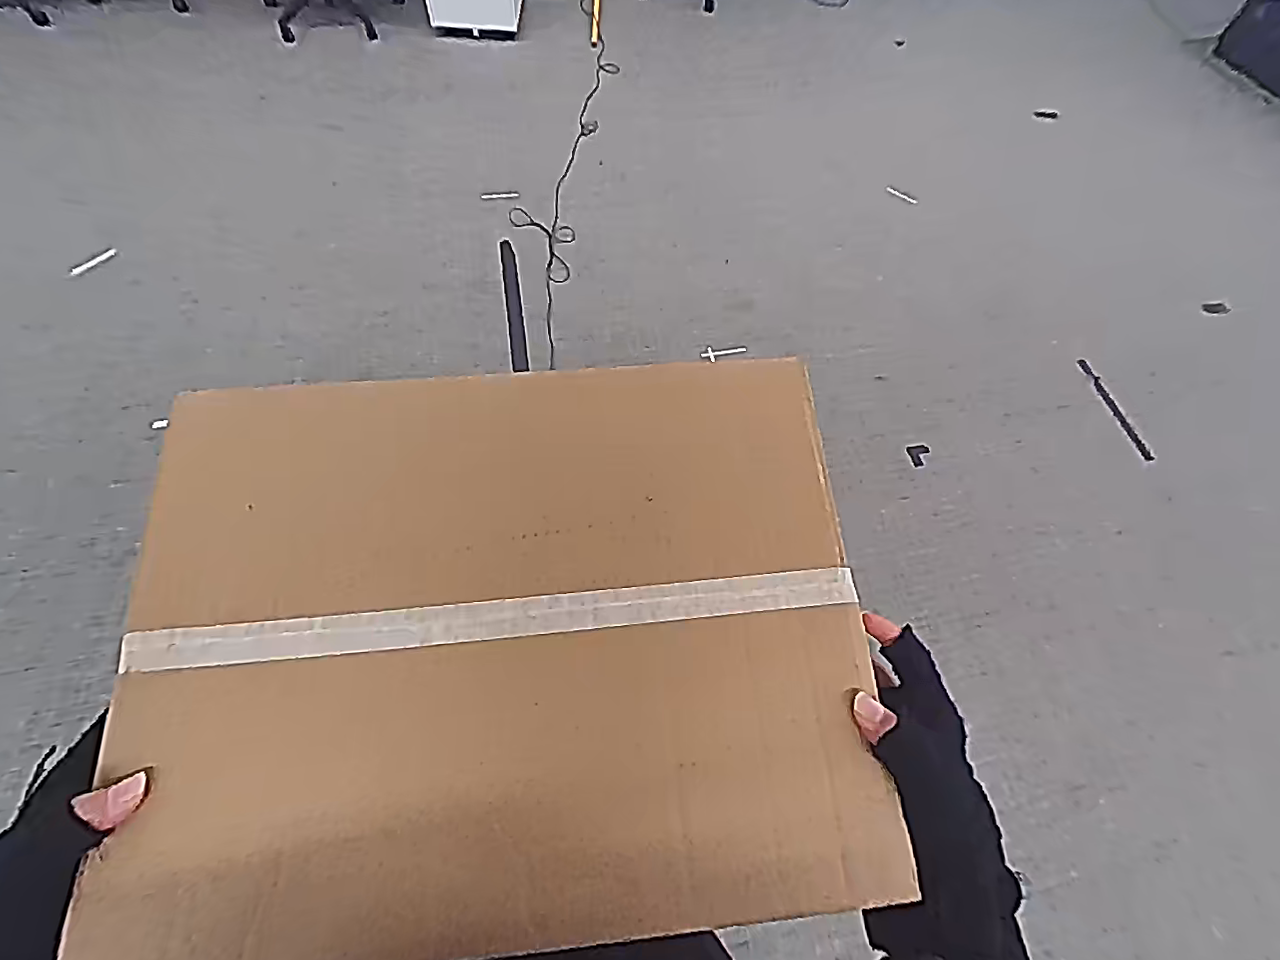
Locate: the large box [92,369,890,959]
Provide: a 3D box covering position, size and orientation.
[{"bbox_3d":[-0.083,0.131,0.455,0.408,0.320,0.320,-4,71,-4],"label":"large box"}]
